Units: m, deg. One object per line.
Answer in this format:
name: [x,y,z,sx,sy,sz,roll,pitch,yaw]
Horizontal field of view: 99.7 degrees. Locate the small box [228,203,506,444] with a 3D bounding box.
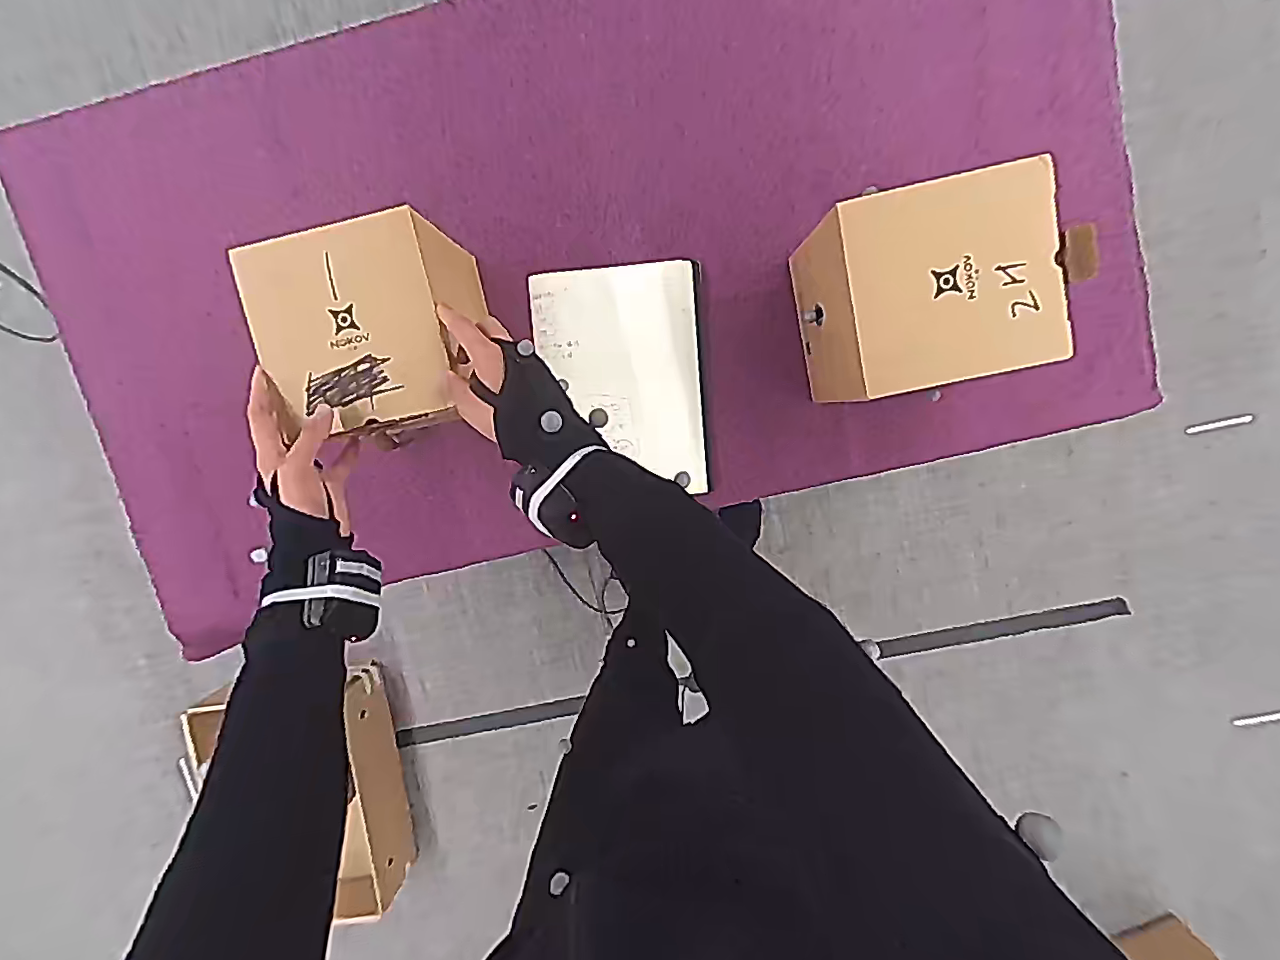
small box: [-0.249,-0.142,0.541,0.168,0.176,0.179,-12,96,3]

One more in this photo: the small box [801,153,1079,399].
small box: [0.264,-0.173,0.518,0.179,0.176,0.168,-11,97,3]
